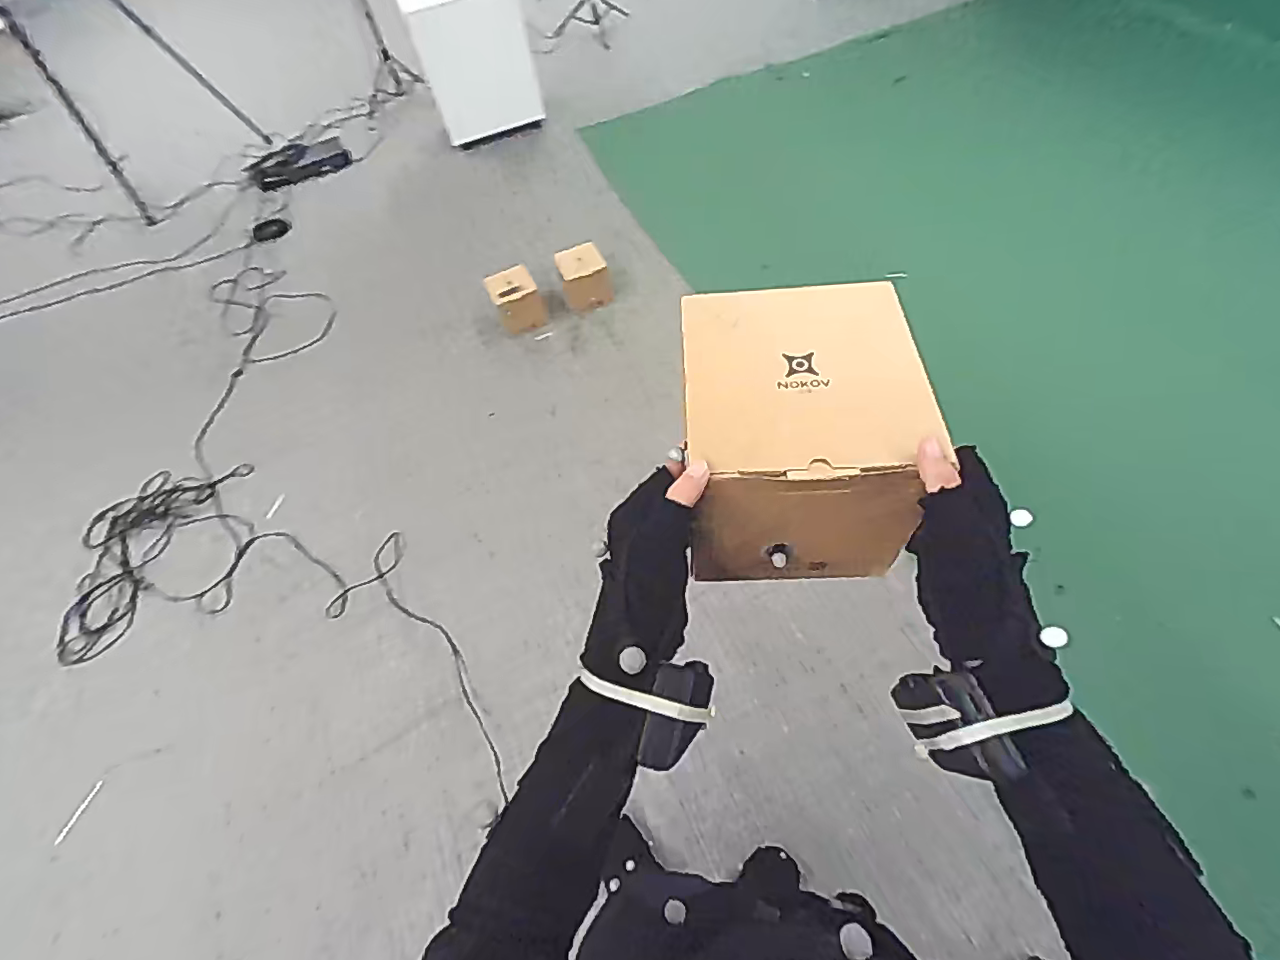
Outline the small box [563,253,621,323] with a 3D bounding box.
[{"bbox_3d":[-0.188,-0.755,2.138,0.168,0.176,0.179,-23,58,-7],"label":"small box"}]
